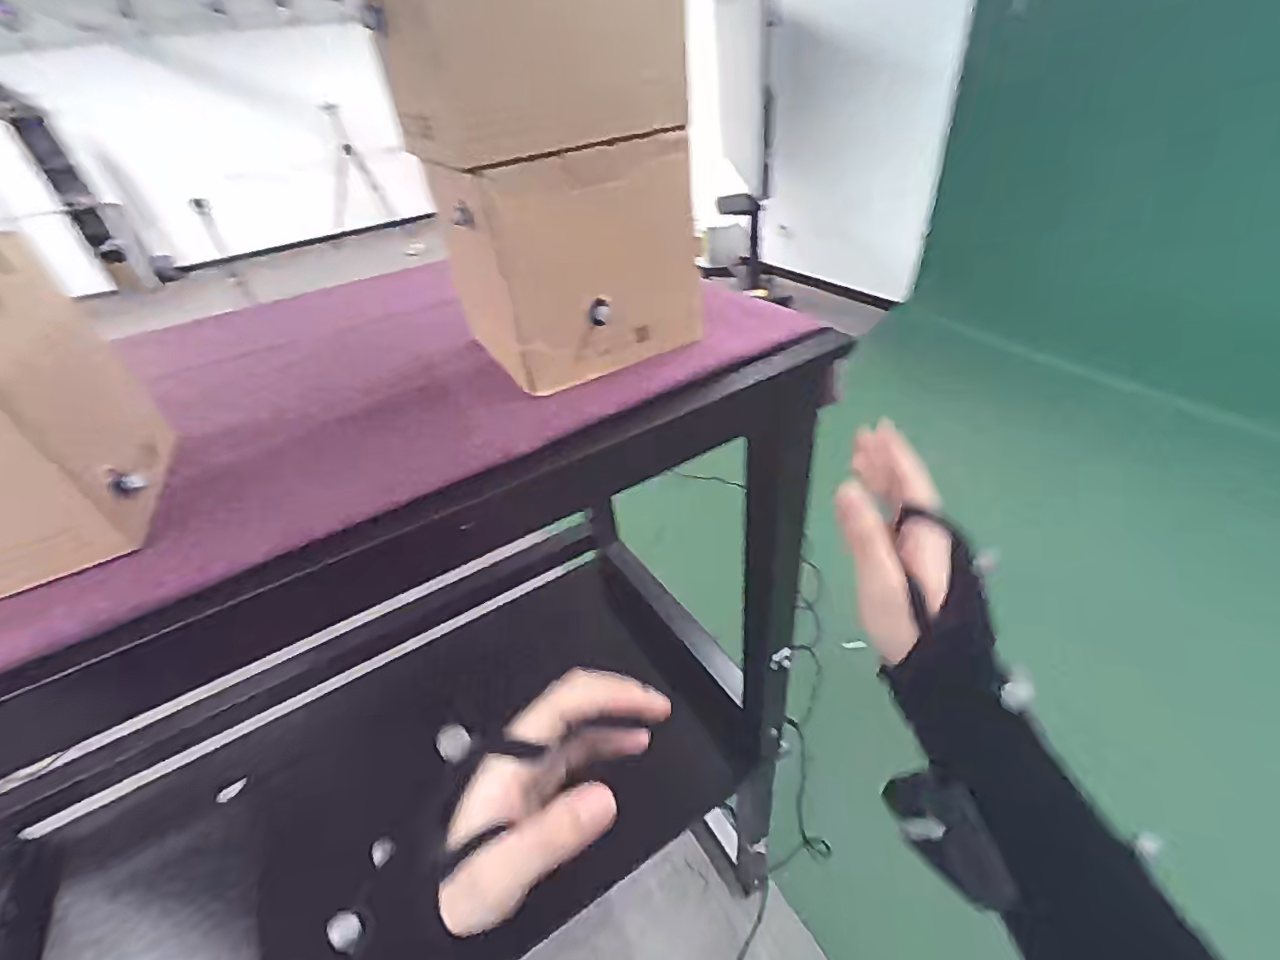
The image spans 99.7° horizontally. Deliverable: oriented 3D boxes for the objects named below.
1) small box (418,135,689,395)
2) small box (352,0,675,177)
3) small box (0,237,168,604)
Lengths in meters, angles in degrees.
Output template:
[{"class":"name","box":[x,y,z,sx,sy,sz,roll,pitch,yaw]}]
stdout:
[{"class":"small box","box":[-0.072,-0.197,0.479,0.168,0.176,0.179,-25,41,-21]},{"class":"small box","box":[-0.091,-0.320,0.371,0.179,0.176,0.168,-25,42,-20]},{"class":"small box","box":[-0.431,-0.023,0.316,0.179,0.176,0.168,-25,39,-19]}]
